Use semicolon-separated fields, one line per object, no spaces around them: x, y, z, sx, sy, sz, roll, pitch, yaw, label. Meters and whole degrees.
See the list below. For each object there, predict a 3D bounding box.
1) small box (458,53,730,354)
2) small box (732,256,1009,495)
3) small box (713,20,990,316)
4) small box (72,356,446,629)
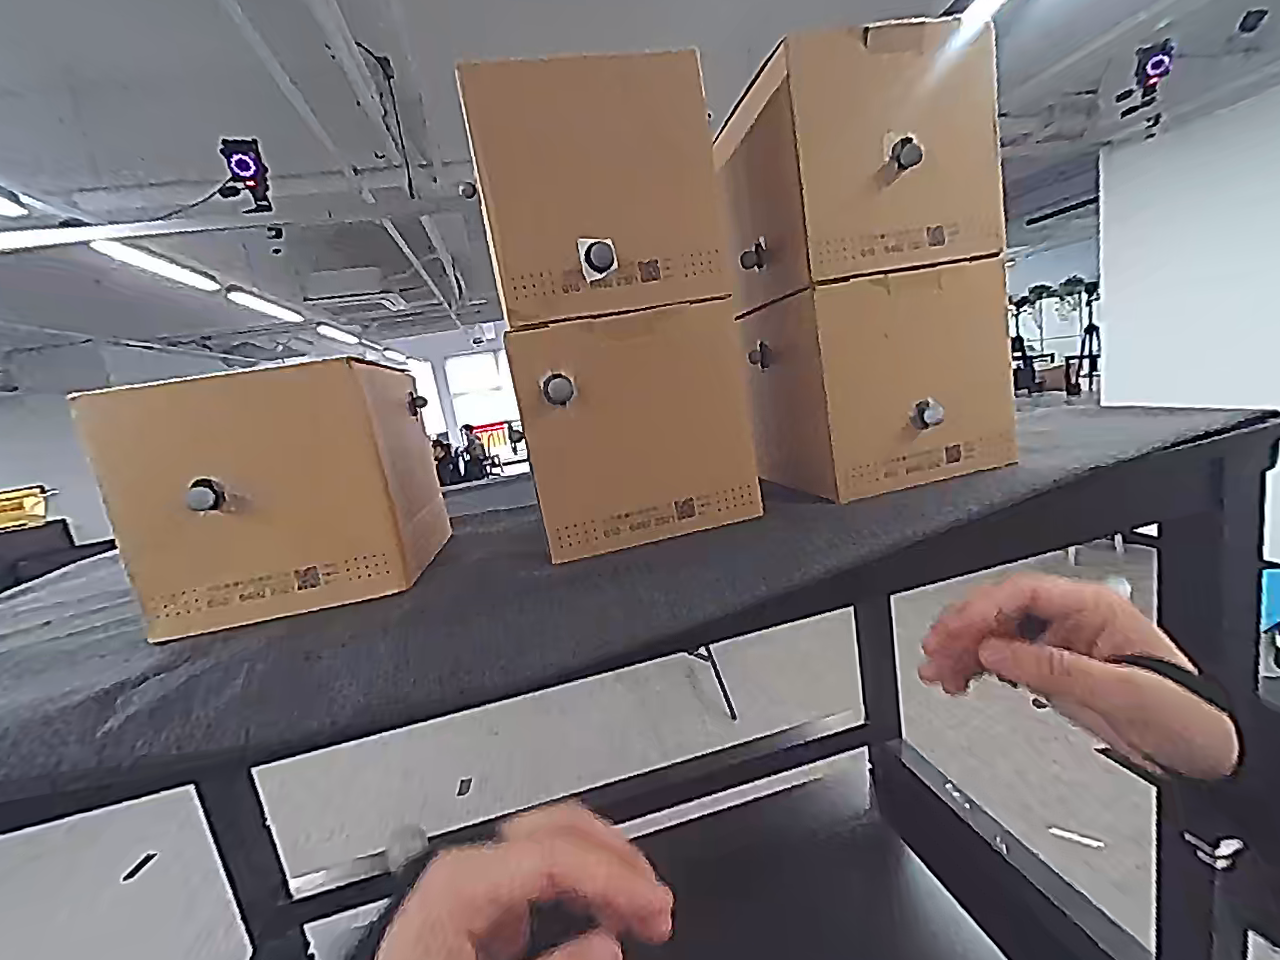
-0.040;-0.204;0.447;0.168;0.176;0.179;-13;10;-11;small box
0.200;-0.088;0.501;0.168;0.176;0.179;-13;10;-9;small box
0.173;-0.249;0.475;0.168;0.176;0.179;-11;10;-9;small box
-0.267;0.005;0.433;0.168;0.176;0.179;-11;9;-8;small box
